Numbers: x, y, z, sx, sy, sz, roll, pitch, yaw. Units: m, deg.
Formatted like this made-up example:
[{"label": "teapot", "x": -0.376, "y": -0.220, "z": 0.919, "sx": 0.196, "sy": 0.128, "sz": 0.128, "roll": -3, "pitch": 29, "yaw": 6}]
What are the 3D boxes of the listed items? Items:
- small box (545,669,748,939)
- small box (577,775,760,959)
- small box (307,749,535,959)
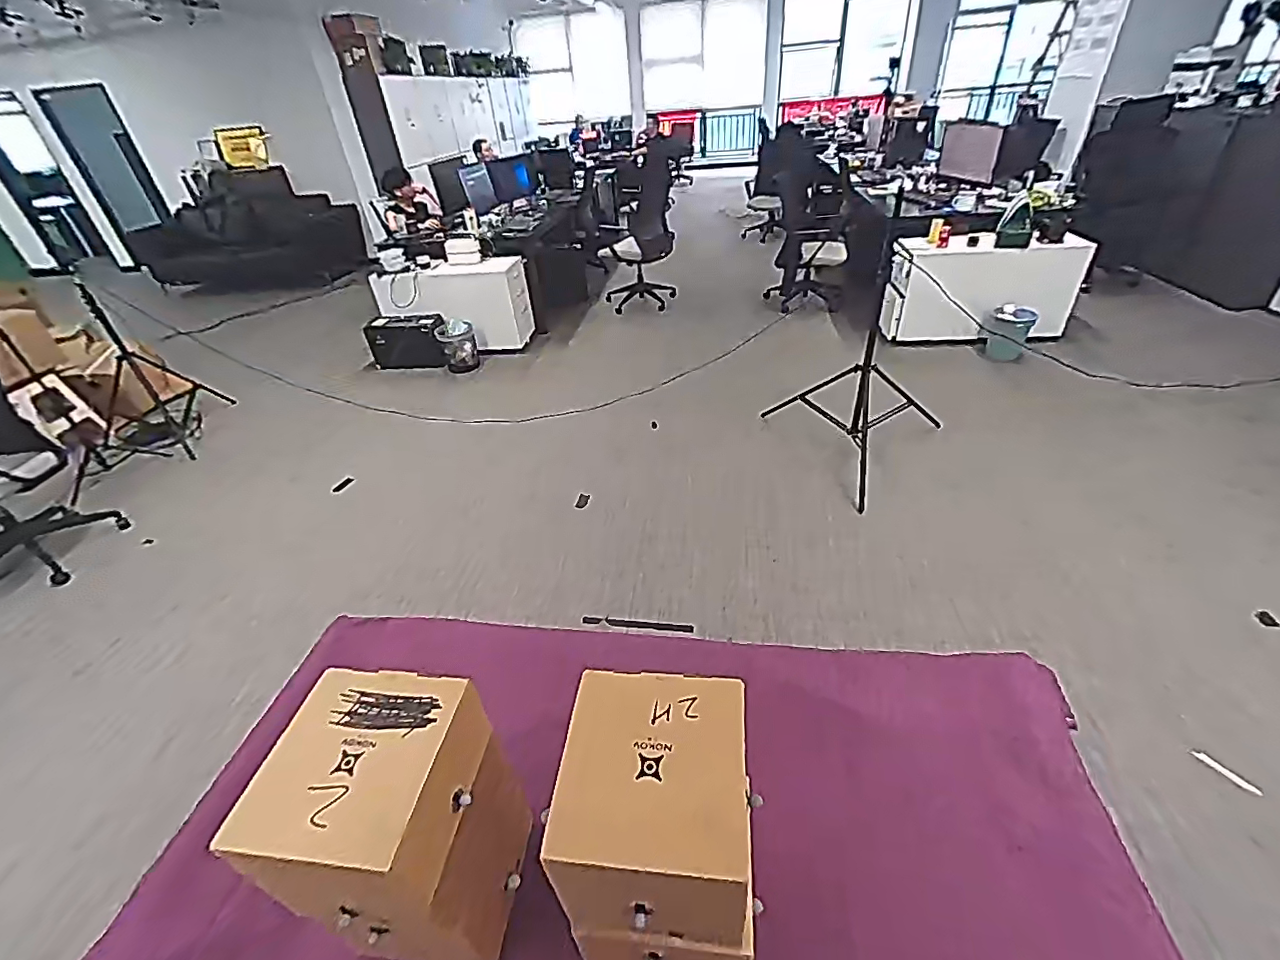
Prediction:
[{"label": "small box", "x": 0.021, "y": 0.314, "z": 0.532, "sx": 0.168, "sy": 0.176, "sz": 0.179, "roll": 1, "pitch": 36, "yaw": 9}, {"label": "small box", "x": 0.041, "y": 0.452, "z": 0.620, "sx": 0.179, "sy": 0.176, "sz": 0.168, "roll": 0, "pitch": 36, "yaw": 9}, {"label": "small box", "x": -0.244, "y": 0.453, "z": 0.653, "sx": 0.179, "sy": 0.176, "sz": 0.168, "roll": 1, "pitch": 36, "yaw": 8}]
